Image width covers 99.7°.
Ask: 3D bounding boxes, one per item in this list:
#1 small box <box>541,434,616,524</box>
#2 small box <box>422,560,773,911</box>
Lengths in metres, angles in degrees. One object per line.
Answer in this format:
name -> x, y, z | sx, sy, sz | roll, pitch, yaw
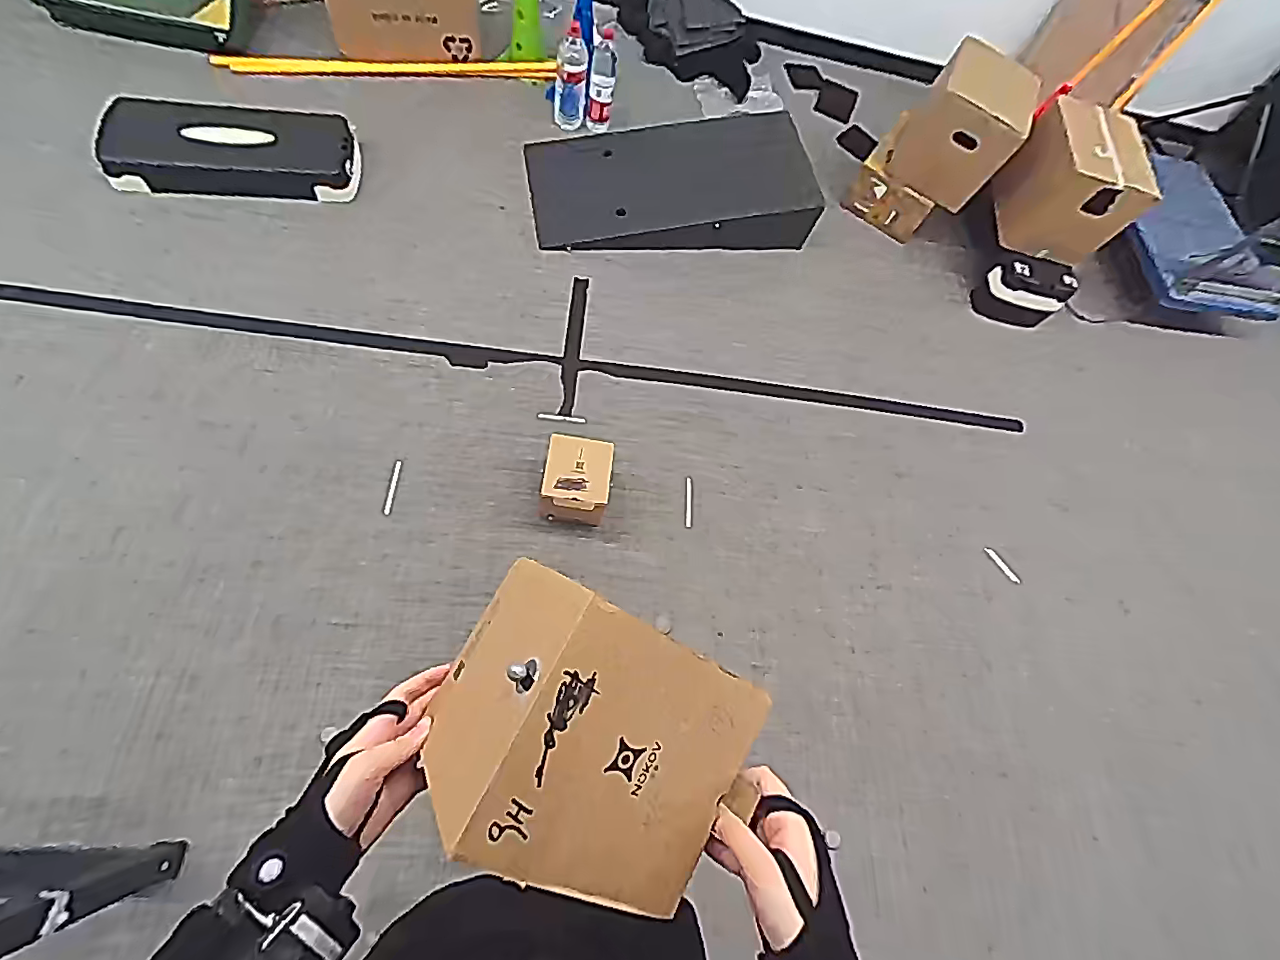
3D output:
small box -> -0.165, 0.005, 1.423 | 0.168, 0.176, 0.179 | 10, 65, -8
small box -> -0.039, 0.176, 0.418 | 0.179, 0.176, 0.168 | 37, 73, -25
